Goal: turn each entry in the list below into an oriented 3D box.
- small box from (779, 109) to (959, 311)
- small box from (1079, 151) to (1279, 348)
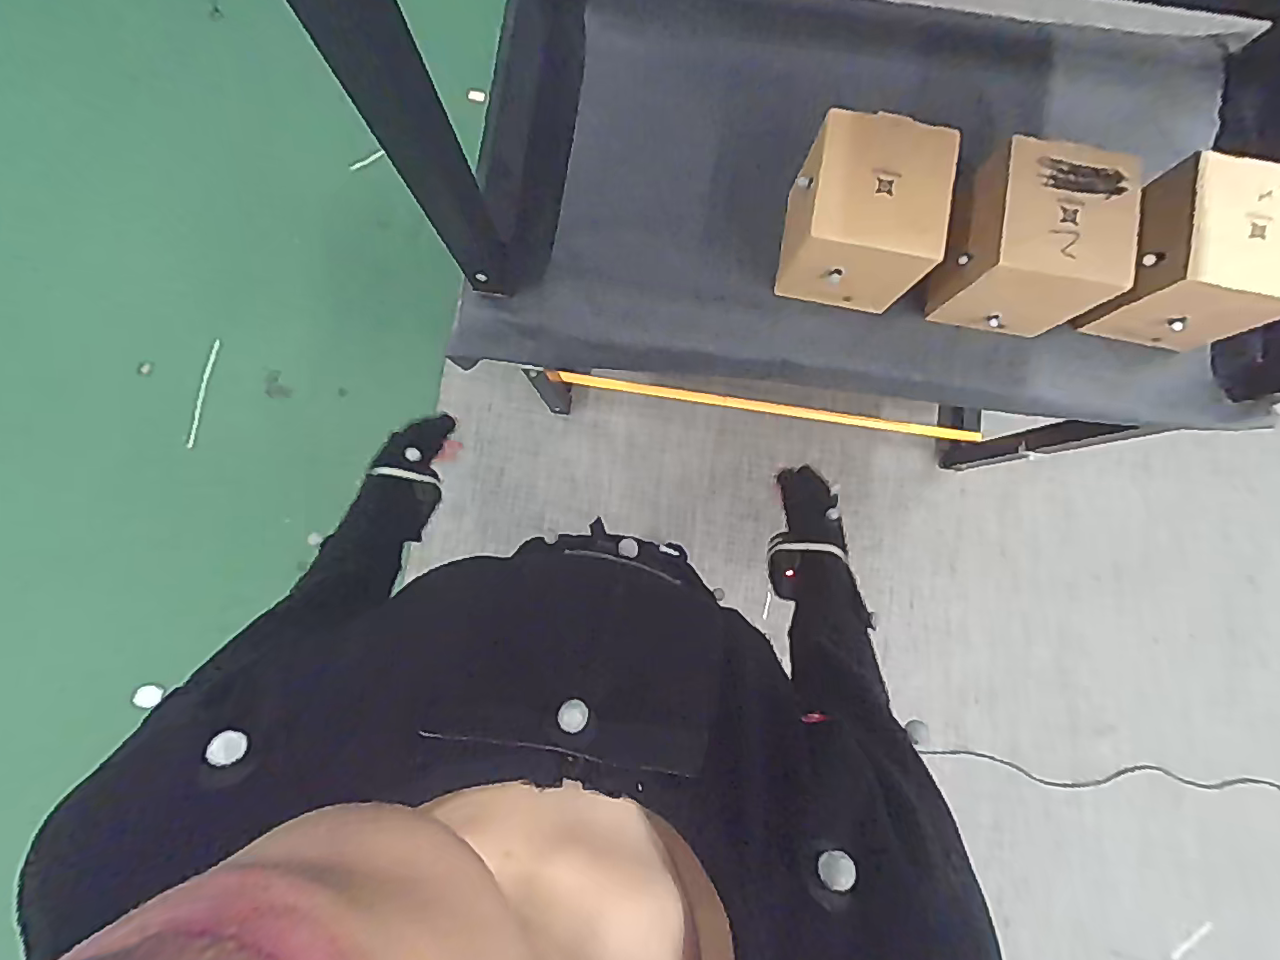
[{"bbox_3d":[0.299,-0.354,0.740,0.168,0.176,0.179,11,84,1],"label":"small box"},{"bbox_3d":[0.748,-0.298,0.736,0.168,0.176,0.179,12,83,0],"label":"small box"}]
